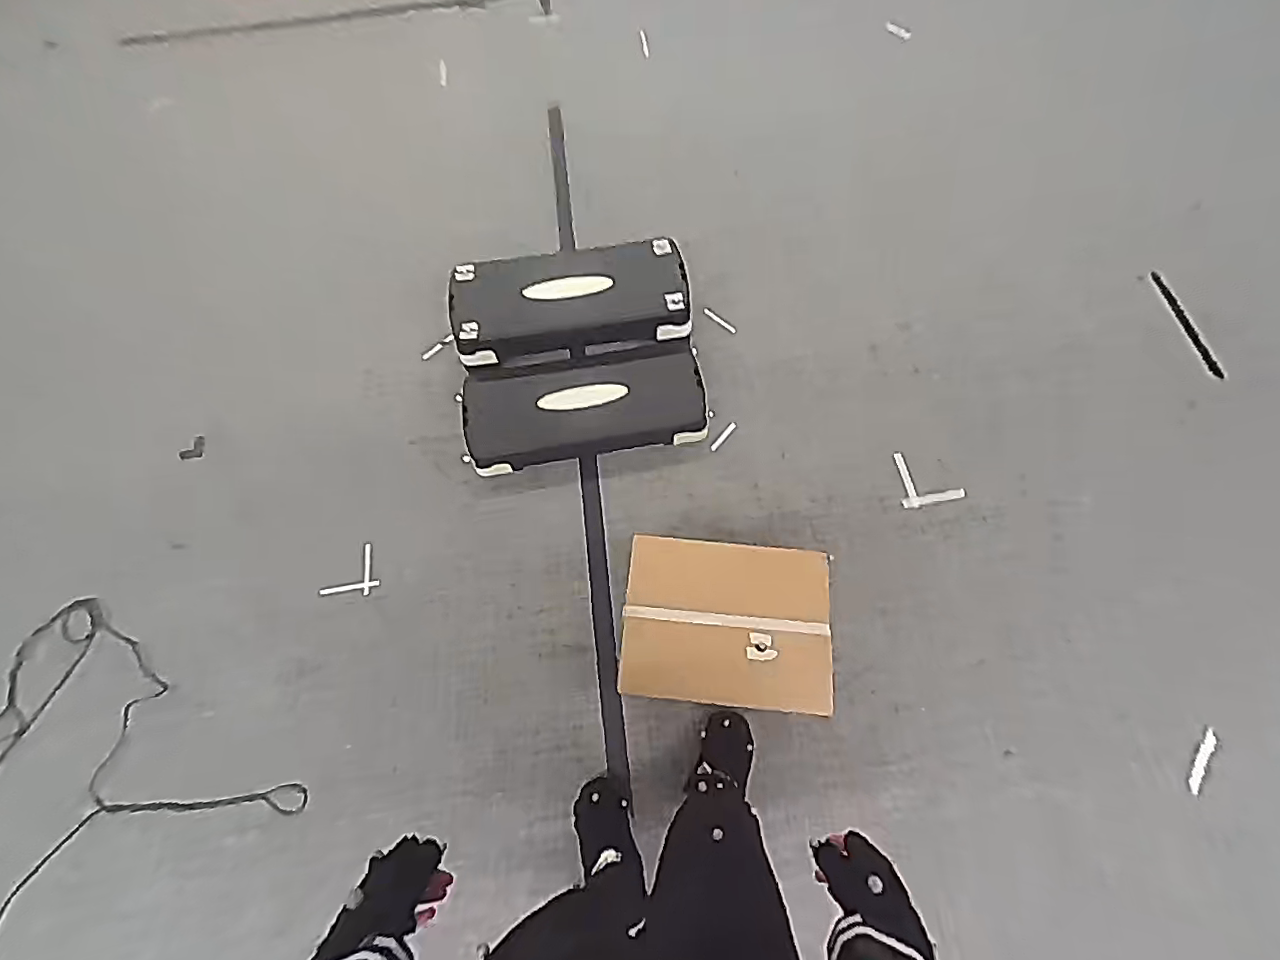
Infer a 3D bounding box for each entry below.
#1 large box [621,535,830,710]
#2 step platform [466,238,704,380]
[{"bbox_3d":[0.173,0.329,1.212,0.408,0.320,0.320,5,69,3],"label":"large box"},{"bbox_3d":[-0.156,-0.507,1.595,0.684,0.204,0.286,-9,69,-3],"label":"step platform"}]
